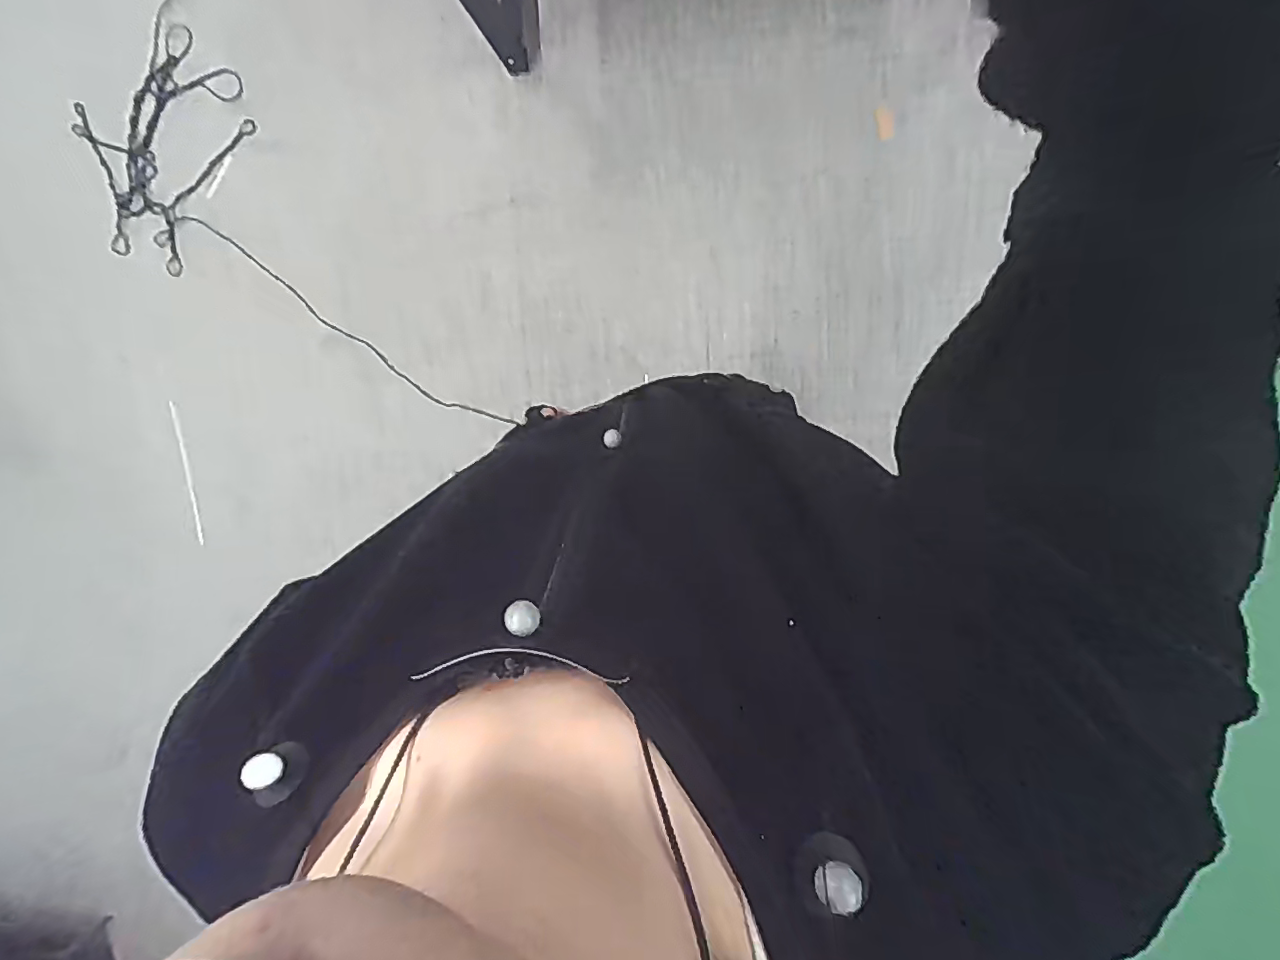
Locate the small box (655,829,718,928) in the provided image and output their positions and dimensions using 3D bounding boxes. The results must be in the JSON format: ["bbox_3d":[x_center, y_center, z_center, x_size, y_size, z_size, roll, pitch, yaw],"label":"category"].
[{"bbox_3d":[0.144,1.192,1.630,0.179,0.176,0.168,2,100,9],"label":"small box"}]
